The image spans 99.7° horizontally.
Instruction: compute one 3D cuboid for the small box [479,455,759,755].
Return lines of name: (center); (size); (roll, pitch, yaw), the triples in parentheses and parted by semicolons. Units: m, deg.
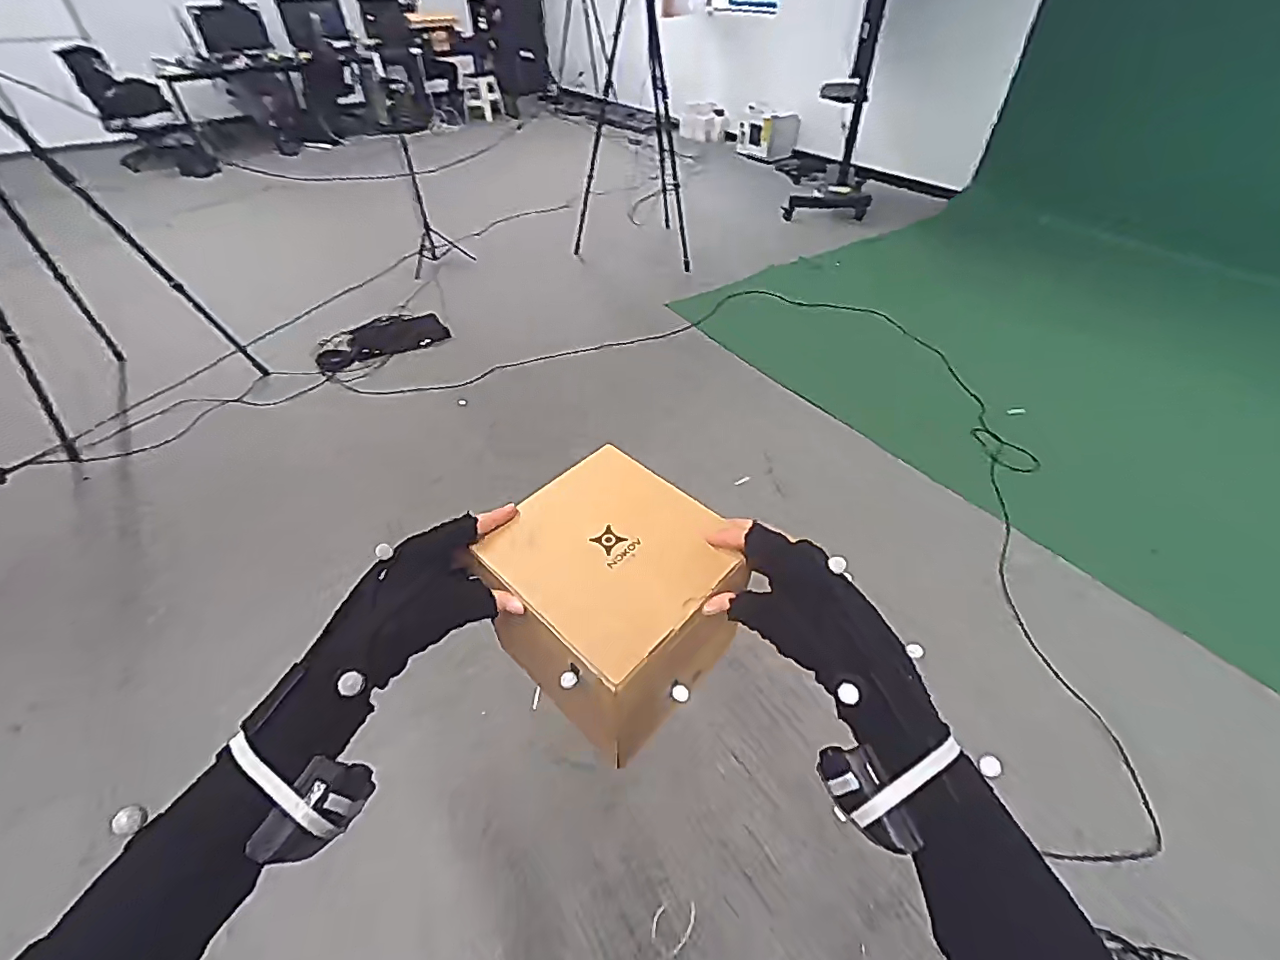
small box: (-0.021, 0.114, 0.503); (0.179, 0.176, 0.168); (35, 54, 28)
